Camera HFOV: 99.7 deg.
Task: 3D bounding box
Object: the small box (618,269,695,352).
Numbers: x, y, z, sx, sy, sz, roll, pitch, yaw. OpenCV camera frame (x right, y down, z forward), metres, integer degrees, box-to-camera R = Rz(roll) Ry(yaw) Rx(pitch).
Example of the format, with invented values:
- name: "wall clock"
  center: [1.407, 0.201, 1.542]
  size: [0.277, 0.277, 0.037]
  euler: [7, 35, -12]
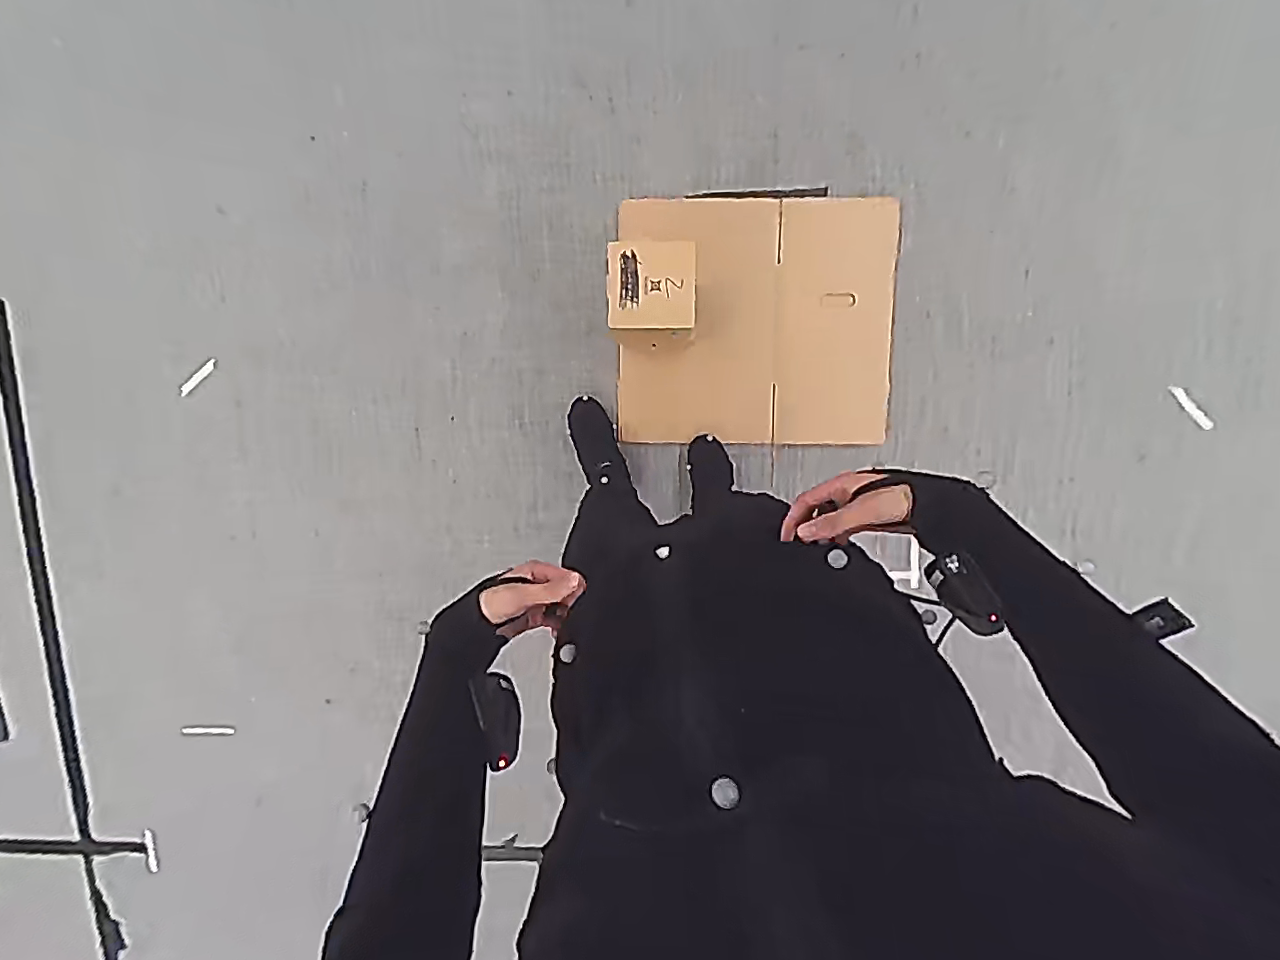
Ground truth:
- name: "small box"
  center: [0.038, -0.404, 1.305]
  size: [0.179, 0.176, 0.168]
  euler: [1, 97, 2]
